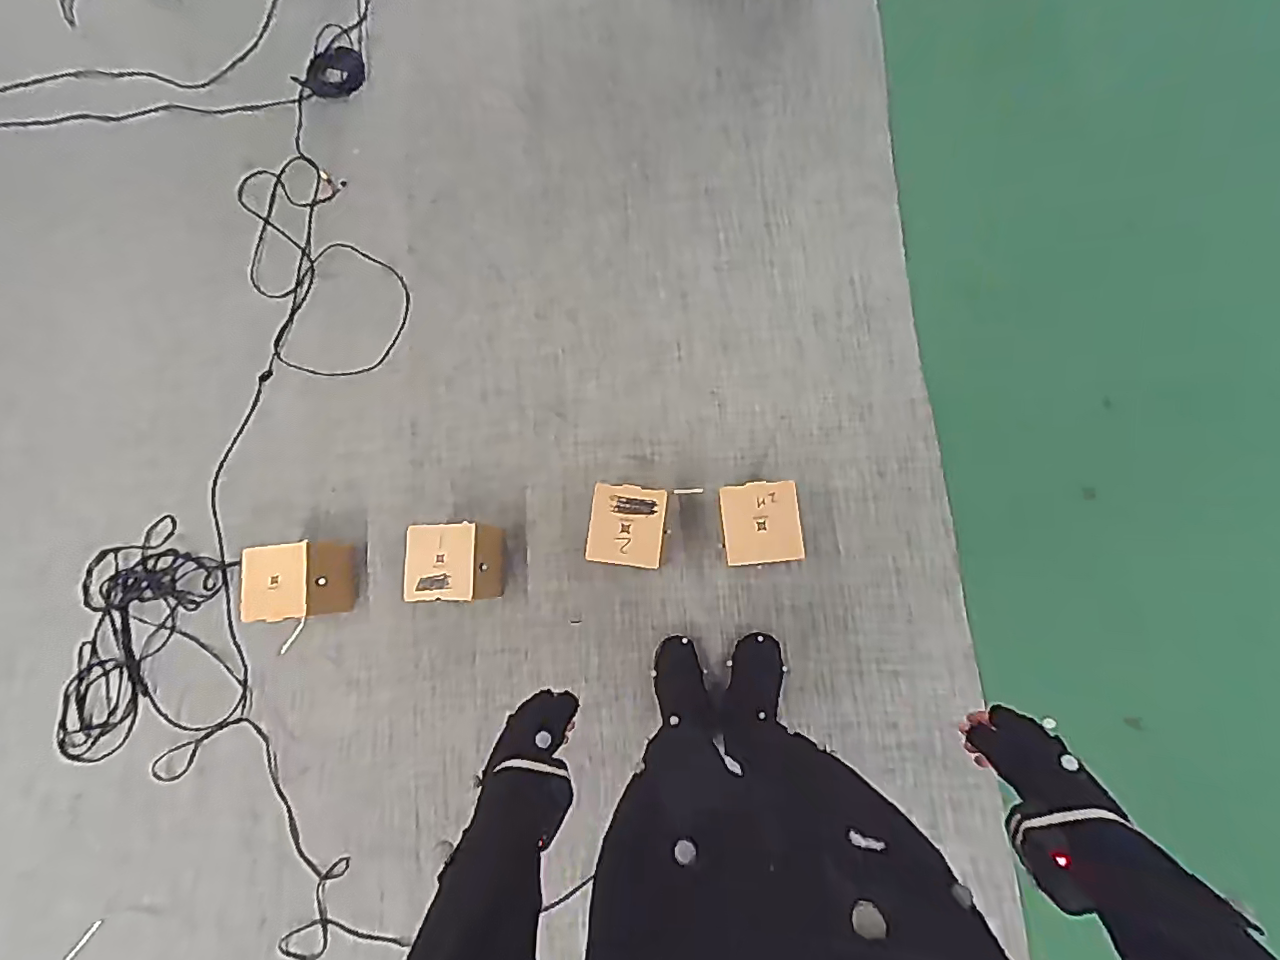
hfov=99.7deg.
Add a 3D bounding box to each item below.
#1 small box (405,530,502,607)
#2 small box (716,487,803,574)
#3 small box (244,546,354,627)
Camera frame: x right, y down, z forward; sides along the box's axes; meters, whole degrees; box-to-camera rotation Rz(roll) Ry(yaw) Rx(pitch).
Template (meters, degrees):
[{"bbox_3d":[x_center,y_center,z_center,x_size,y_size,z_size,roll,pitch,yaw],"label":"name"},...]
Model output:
[{"bbox_3d":[-0.442,0.213,1.306,0.168,0.176,0.179,-2,80,7],"label":"small box"},{"bbox_3d":[0.268,0.120,1.243,0.168,0.176,0.179,-6,80,4],"label":"small box"},{"bbox_3d":[-0.840,0.263,1.346,0.168,0.176,0.179,-7,80,6],"label":"small box"}]
